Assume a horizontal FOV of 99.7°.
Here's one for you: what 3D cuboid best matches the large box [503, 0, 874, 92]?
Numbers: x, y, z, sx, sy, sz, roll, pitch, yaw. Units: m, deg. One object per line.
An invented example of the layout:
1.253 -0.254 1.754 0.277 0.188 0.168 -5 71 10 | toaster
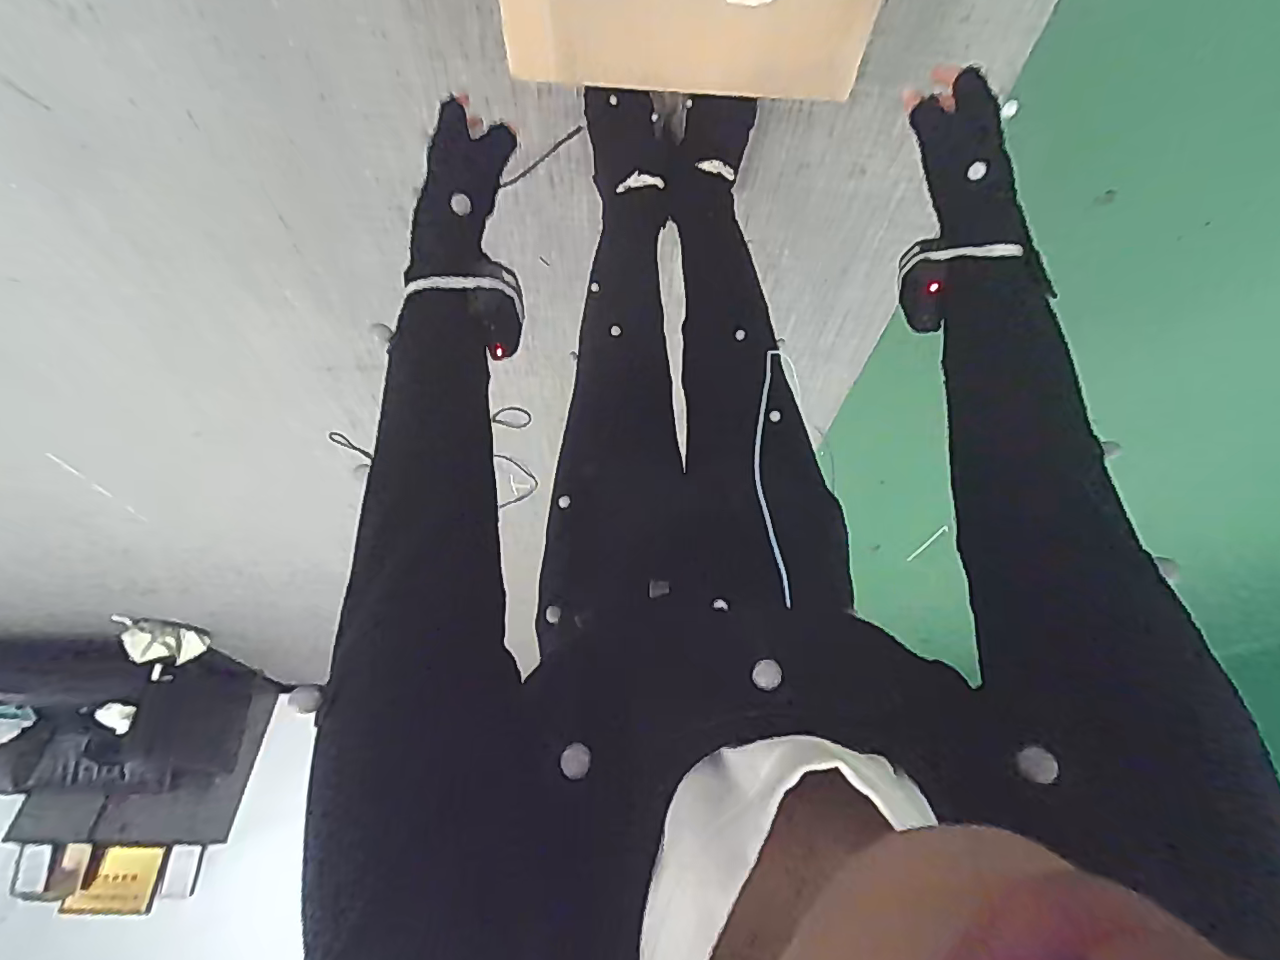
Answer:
0.054 -0.674 0.593 0.408 0.320 0.320 2 148 -1 | large box
